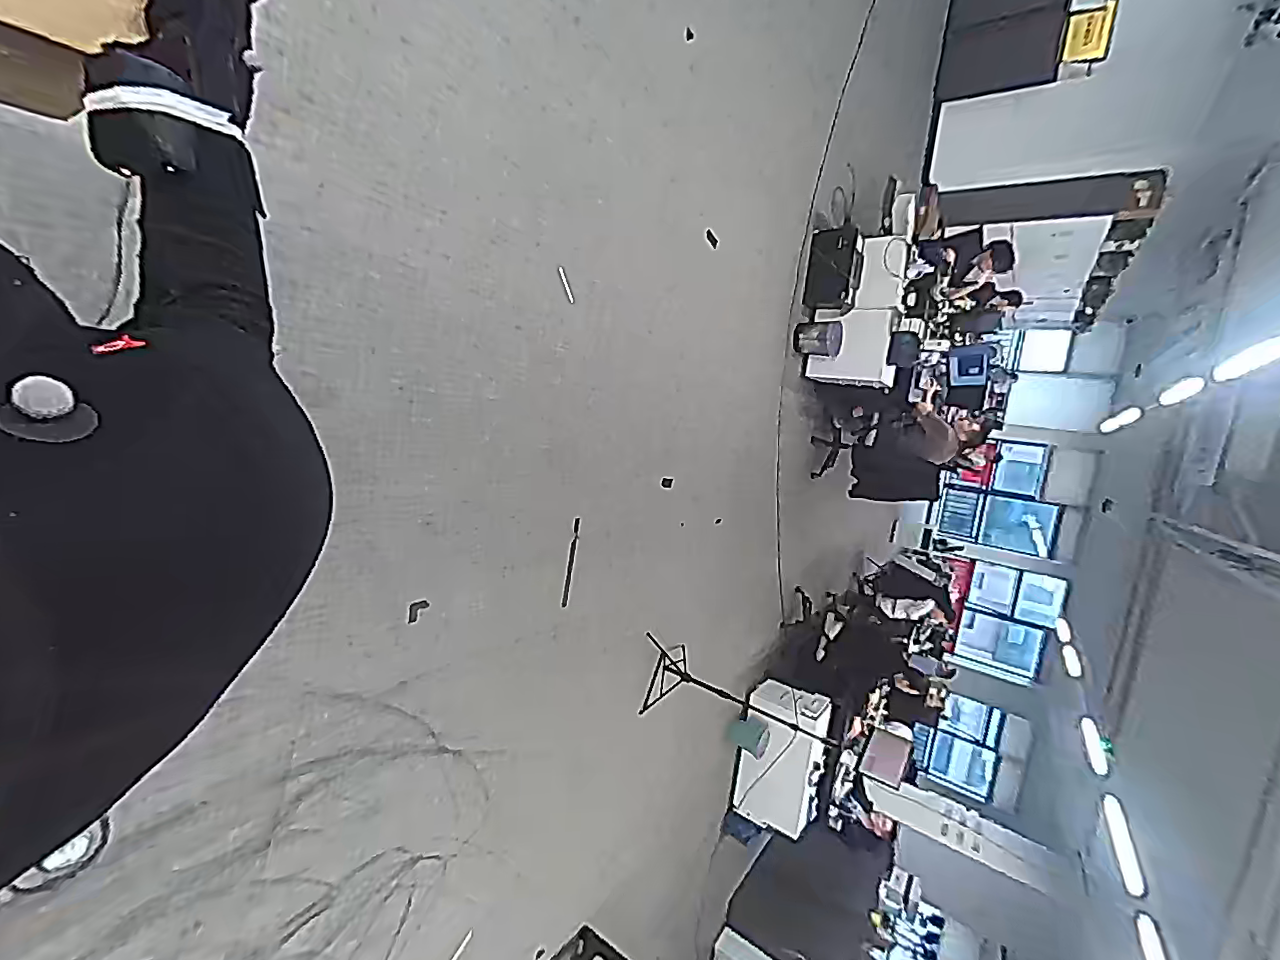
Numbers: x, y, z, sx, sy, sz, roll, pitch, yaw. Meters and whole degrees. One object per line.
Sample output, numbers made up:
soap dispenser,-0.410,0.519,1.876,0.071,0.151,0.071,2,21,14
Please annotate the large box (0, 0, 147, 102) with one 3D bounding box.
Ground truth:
large box,-0.558,-0.458,0.266,0.408,0.320,0.320,-9,114,-54
